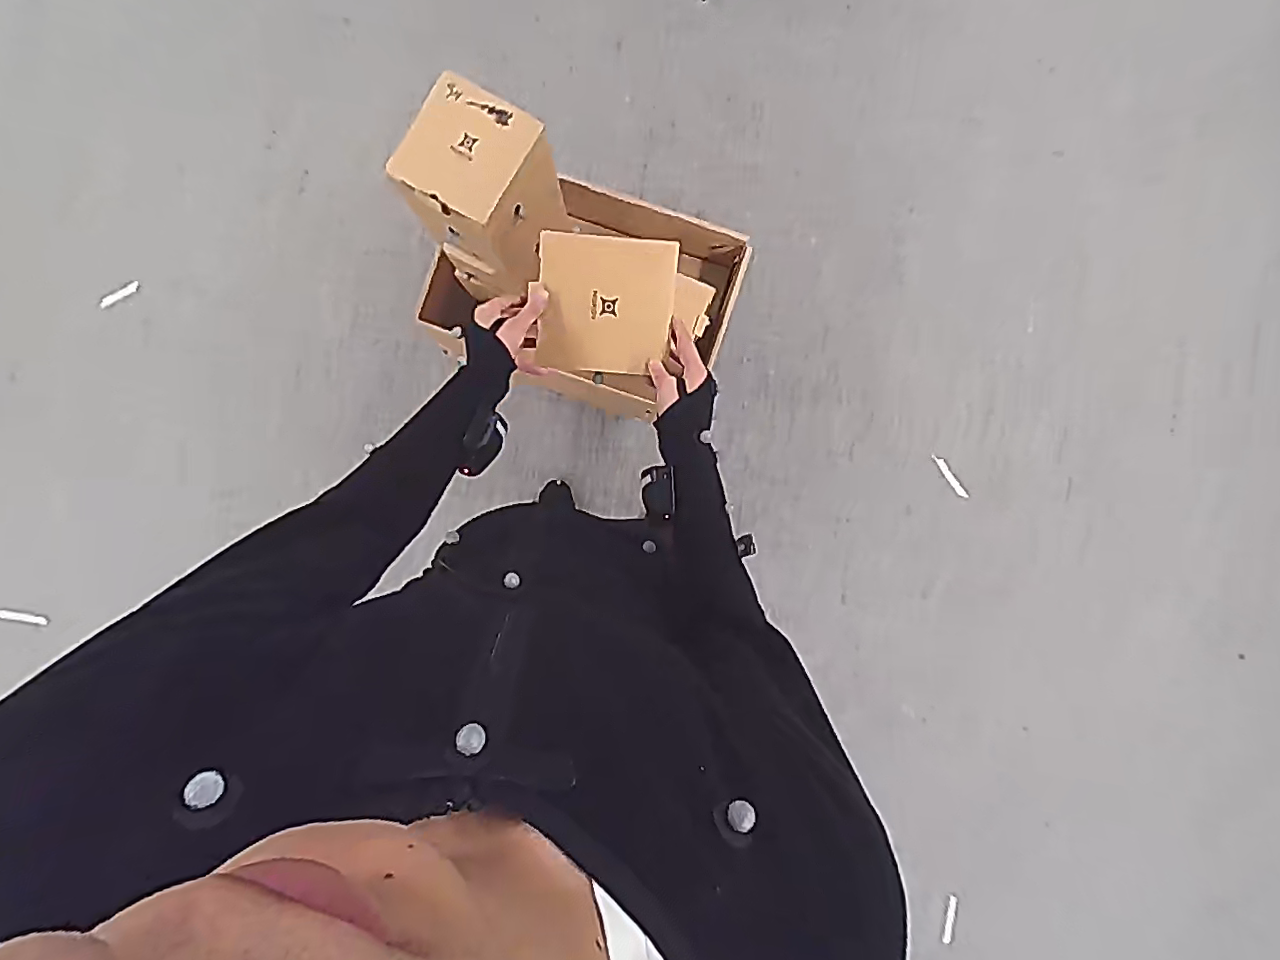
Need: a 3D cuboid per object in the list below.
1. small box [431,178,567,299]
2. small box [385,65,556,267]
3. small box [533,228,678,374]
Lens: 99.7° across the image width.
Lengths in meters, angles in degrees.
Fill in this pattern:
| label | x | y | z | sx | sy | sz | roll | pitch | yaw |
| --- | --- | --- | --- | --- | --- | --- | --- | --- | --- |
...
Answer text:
| label | x | y | z | sx | sy | sz | roll | pitch | yaw |
| --- | --- | --- | --- | --- | --- | --- | --- | --- | --- |
| small box | -0.246 | -0.465 | 0.998 | 0.168 | 0.176 | 0.179 | 27 | 87 | 0 |
| small box | -0.245 | -0.465 | 0.833 | 0.168 | 0.176 | 0.179 | 30 | 88 | 0 |
| small box | -0.043 | -0.240 | 0.755 | 0.179 | 0.176 | 0.168 | 5 | 102 | 2 |
